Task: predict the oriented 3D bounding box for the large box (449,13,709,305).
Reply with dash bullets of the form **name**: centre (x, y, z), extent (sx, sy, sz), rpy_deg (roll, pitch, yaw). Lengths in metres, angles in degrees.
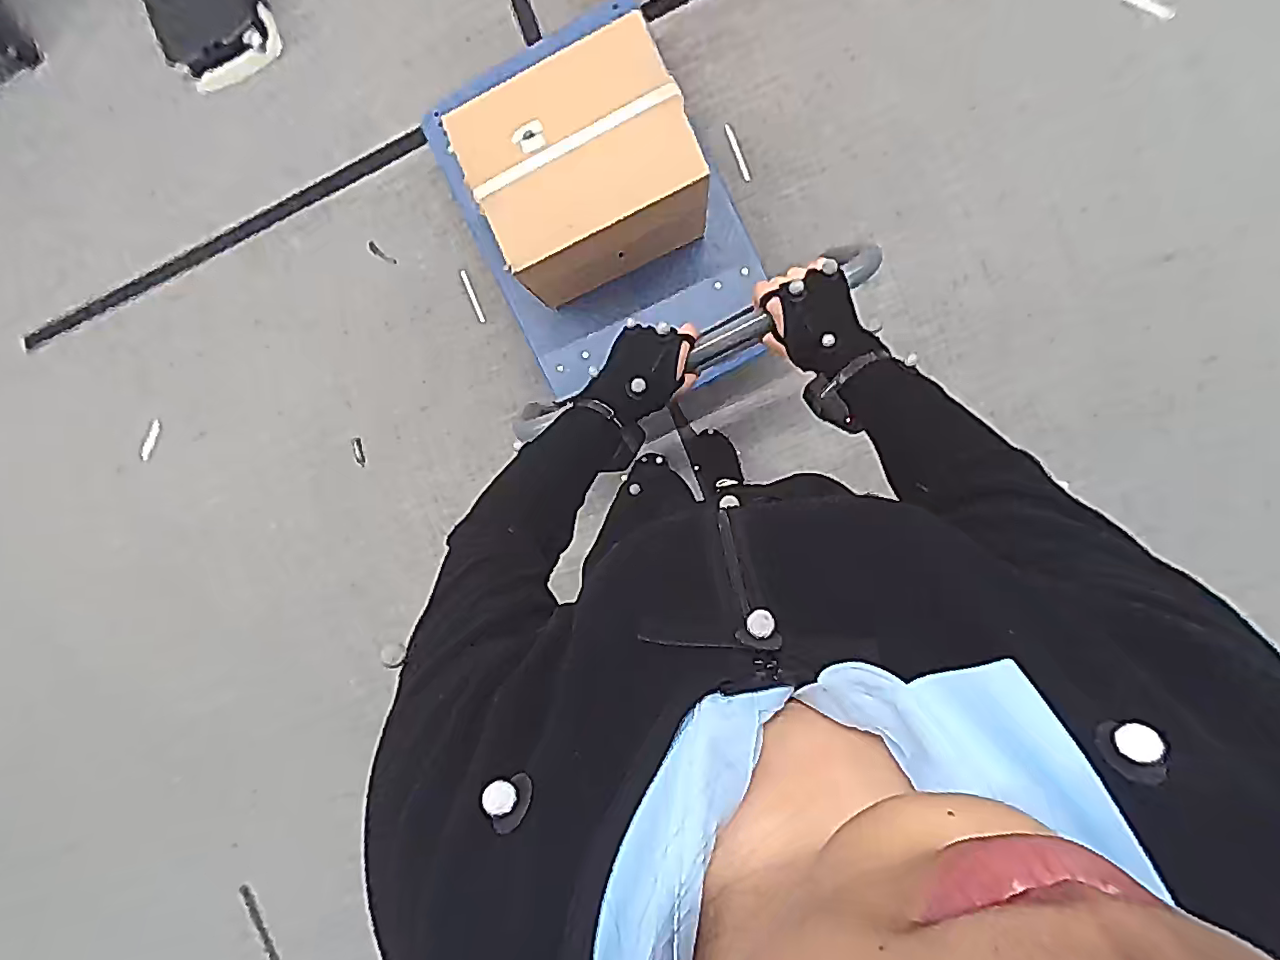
- **large box**: centre (-0.102, -0.625, 1.136), extent (0.408, 0.320, 0.320), rpy_deg (-25, 92, 7)
